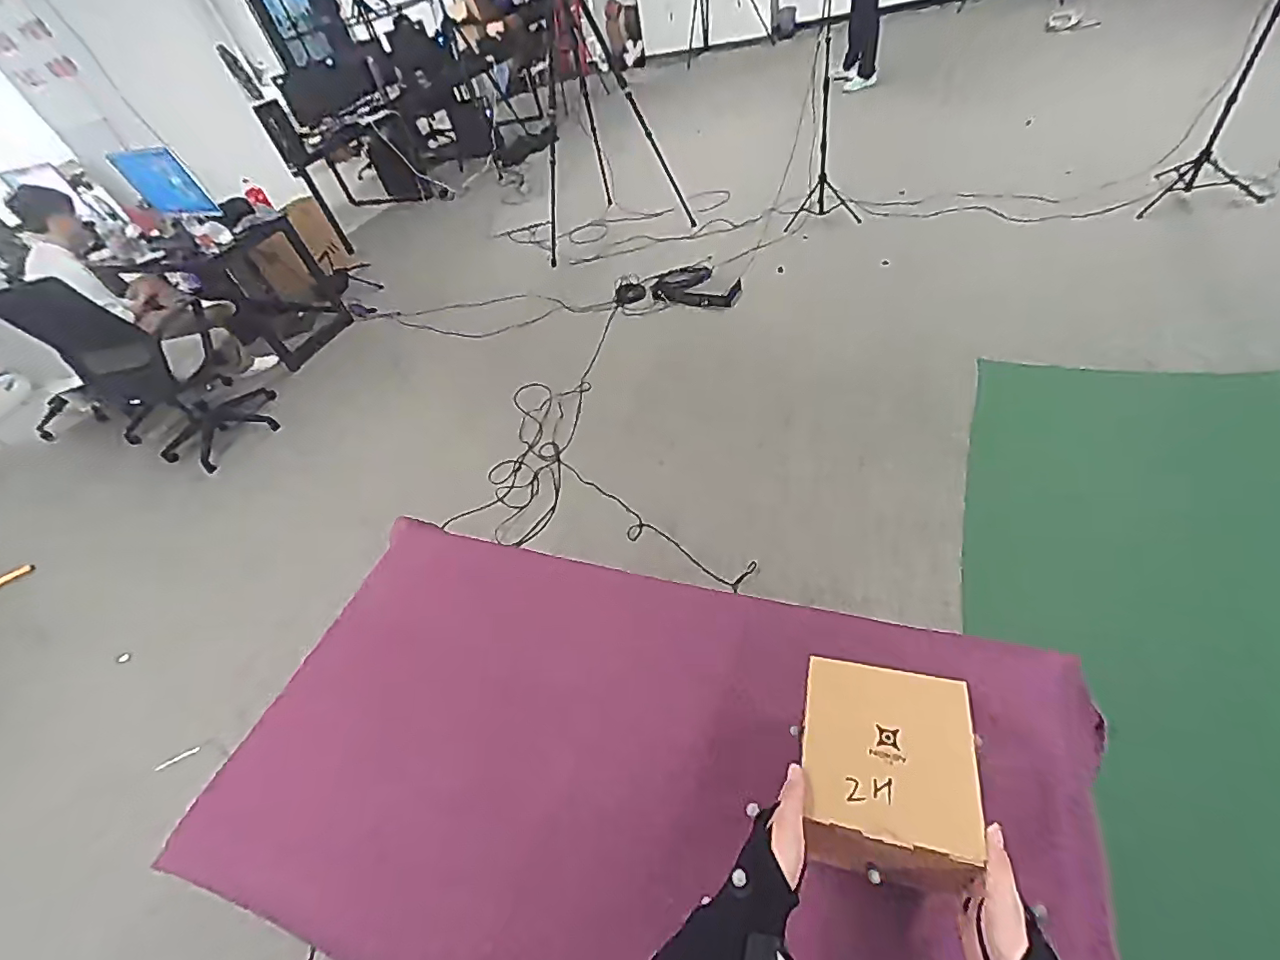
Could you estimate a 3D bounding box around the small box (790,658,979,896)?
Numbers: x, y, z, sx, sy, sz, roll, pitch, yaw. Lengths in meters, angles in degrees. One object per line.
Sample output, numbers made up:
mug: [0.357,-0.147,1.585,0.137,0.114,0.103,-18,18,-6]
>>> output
small box: [0.266,0.336,0.618,0.168,0.176,0.179,5,47,19]
